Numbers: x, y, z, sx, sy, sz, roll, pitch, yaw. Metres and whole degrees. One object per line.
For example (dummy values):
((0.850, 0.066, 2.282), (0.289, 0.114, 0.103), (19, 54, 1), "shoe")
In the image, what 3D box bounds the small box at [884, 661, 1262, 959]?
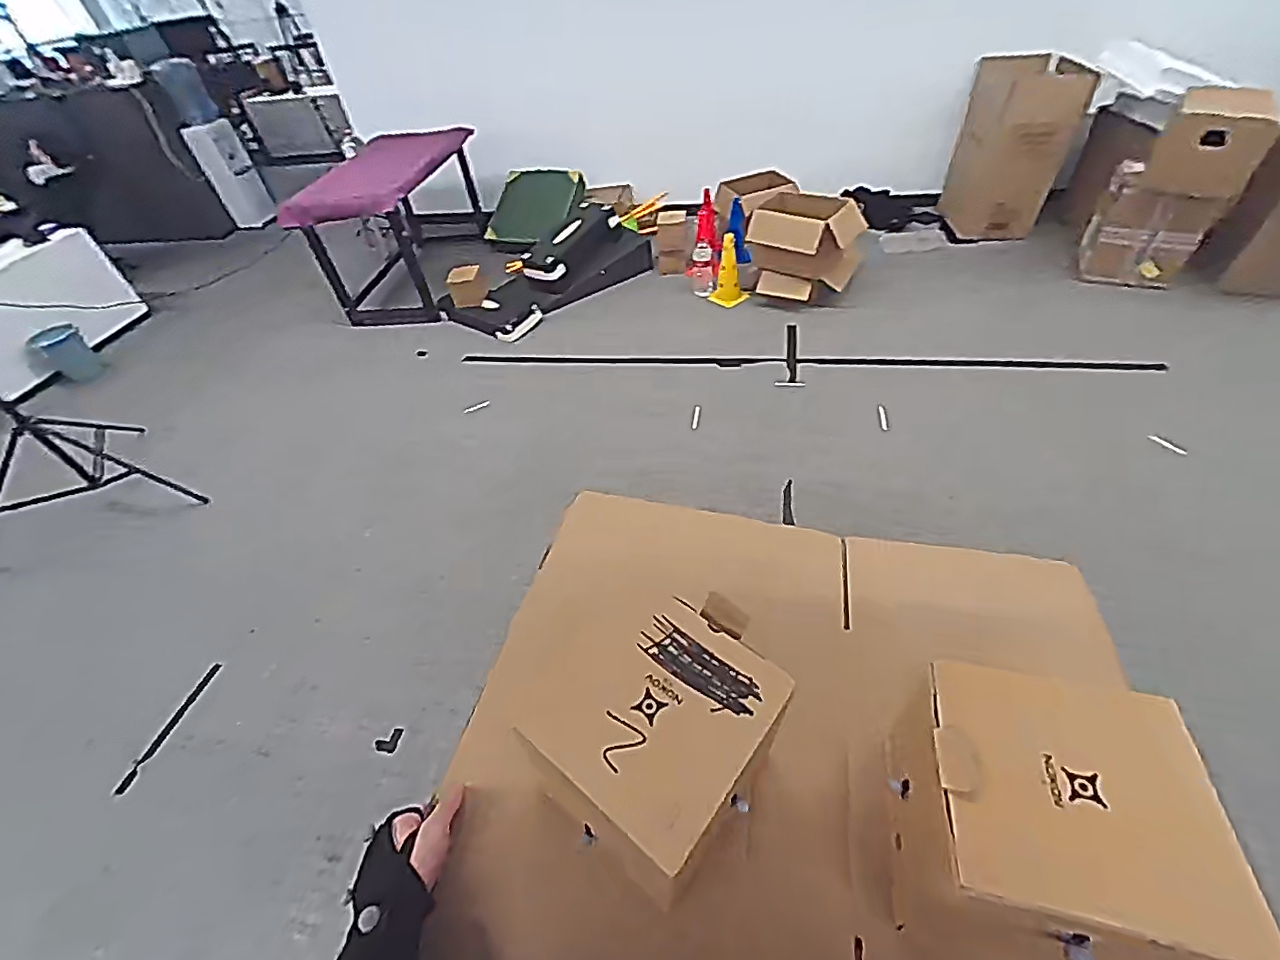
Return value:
((0.319, 0.281, 0.453), (0.179, 0.176, 0.168), (6, 44, 14), "small box")
